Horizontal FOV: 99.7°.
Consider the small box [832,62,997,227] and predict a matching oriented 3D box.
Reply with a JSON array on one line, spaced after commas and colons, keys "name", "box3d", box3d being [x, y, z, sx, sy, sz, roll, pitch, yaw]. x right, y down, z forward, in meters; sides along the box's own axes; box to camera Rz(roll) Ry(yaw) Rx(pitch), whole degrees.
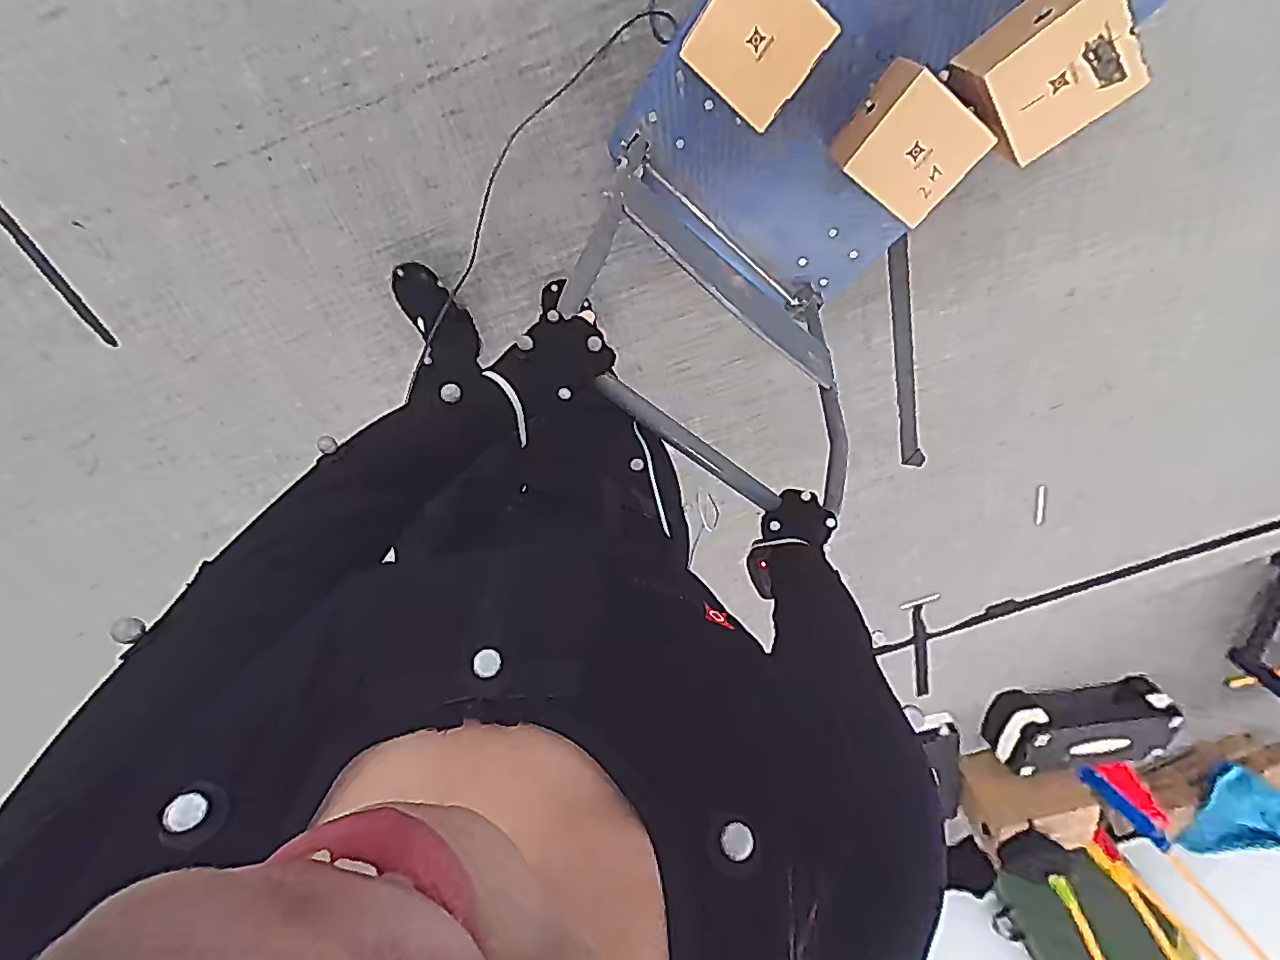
[{"name": "small box", "box3d": [0.458, -0.581, 0.933, 0.179, 0.176, 0.168, 28, 130, -18]}]

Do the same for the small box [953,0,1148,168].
[{"name": "small box", "box3d": [0.634, -0.643, 0.852, 0.179, 0.176, 0.168, -30, 122, 31]}]

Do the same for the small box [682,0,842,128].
[{"name": "small box", "box3d": [0.182, -0.705, 0.854, 0.179, 0.176, 0.168, 30, 129, -22]}]
